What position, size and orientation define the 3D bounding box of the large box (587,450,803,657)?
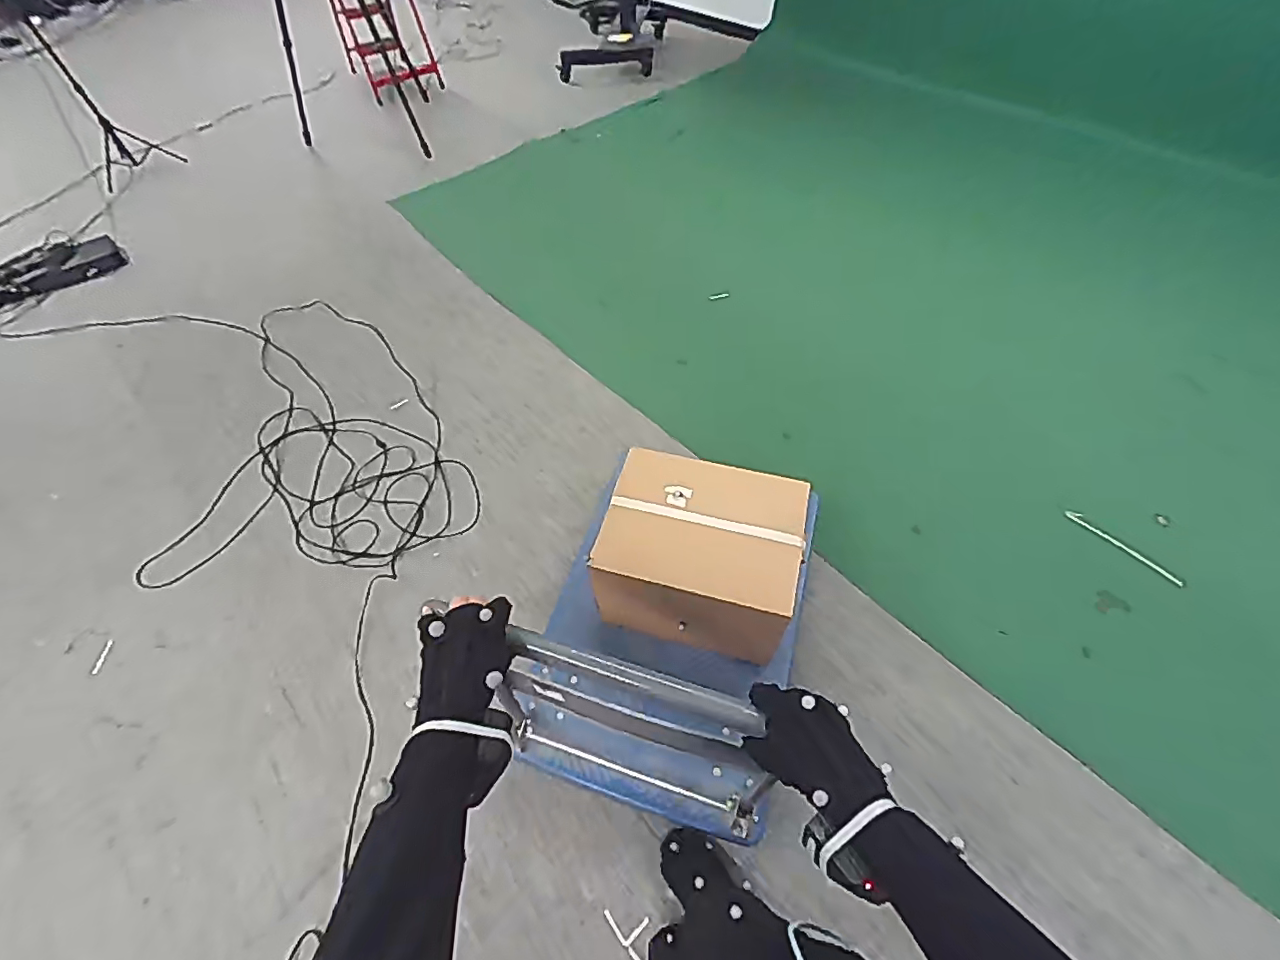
[{"bbox_3d":[0.131,0.172,1.239,0.408,0.320,0.320,12,56,11],"label":"large box"}]
